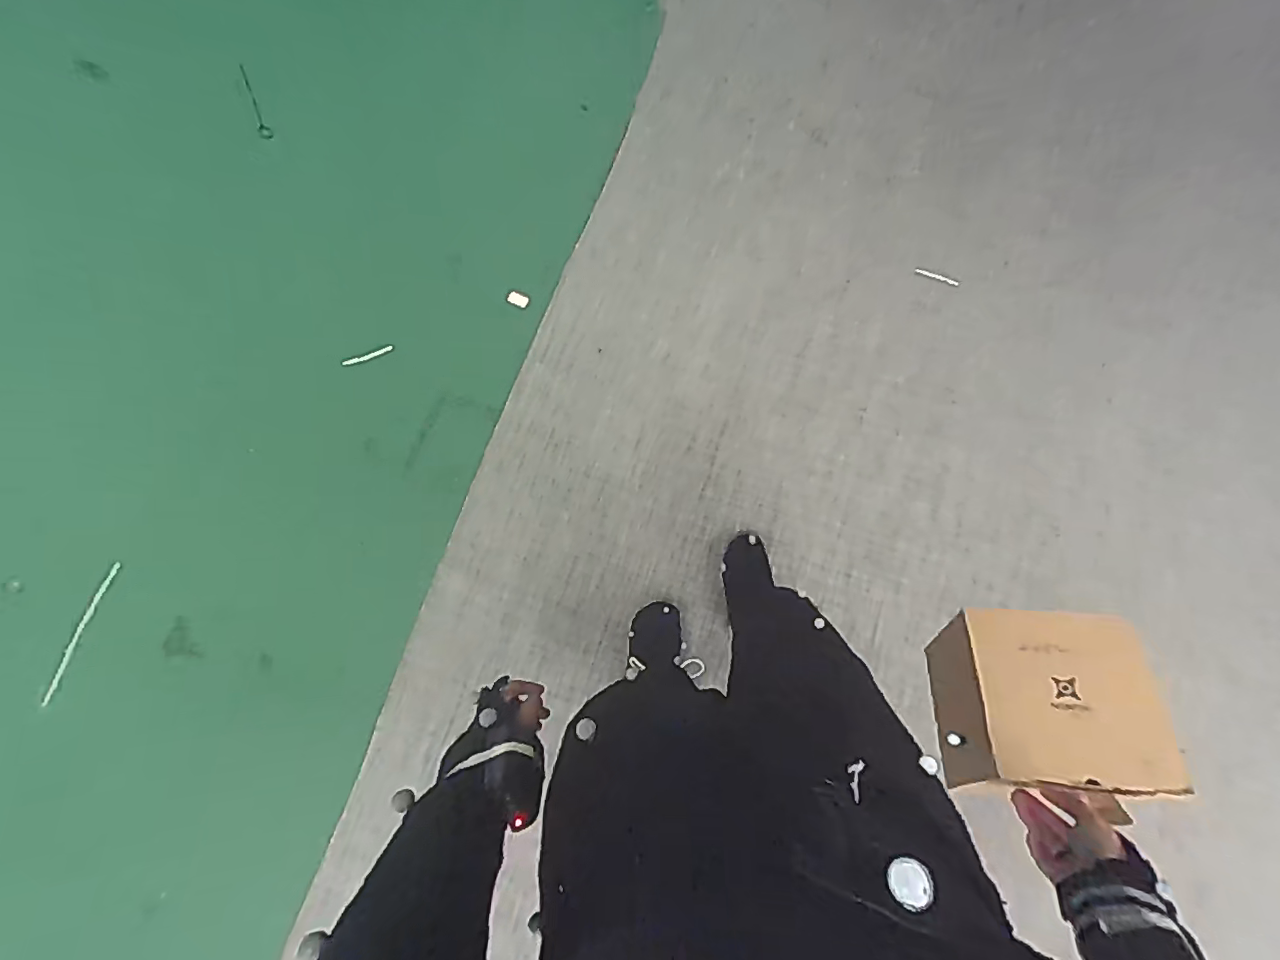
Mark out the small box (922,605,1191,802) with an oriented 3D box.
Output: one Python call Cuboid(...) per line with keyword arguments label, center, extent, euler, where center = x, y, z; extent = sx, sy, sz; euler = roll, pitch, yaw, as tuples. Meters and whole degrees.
Cuboid(label="small box", center=(0.445, 0.258, 0.618), extent=(0.168, 0.176, 0.179), euler=(0, 55, 10))
